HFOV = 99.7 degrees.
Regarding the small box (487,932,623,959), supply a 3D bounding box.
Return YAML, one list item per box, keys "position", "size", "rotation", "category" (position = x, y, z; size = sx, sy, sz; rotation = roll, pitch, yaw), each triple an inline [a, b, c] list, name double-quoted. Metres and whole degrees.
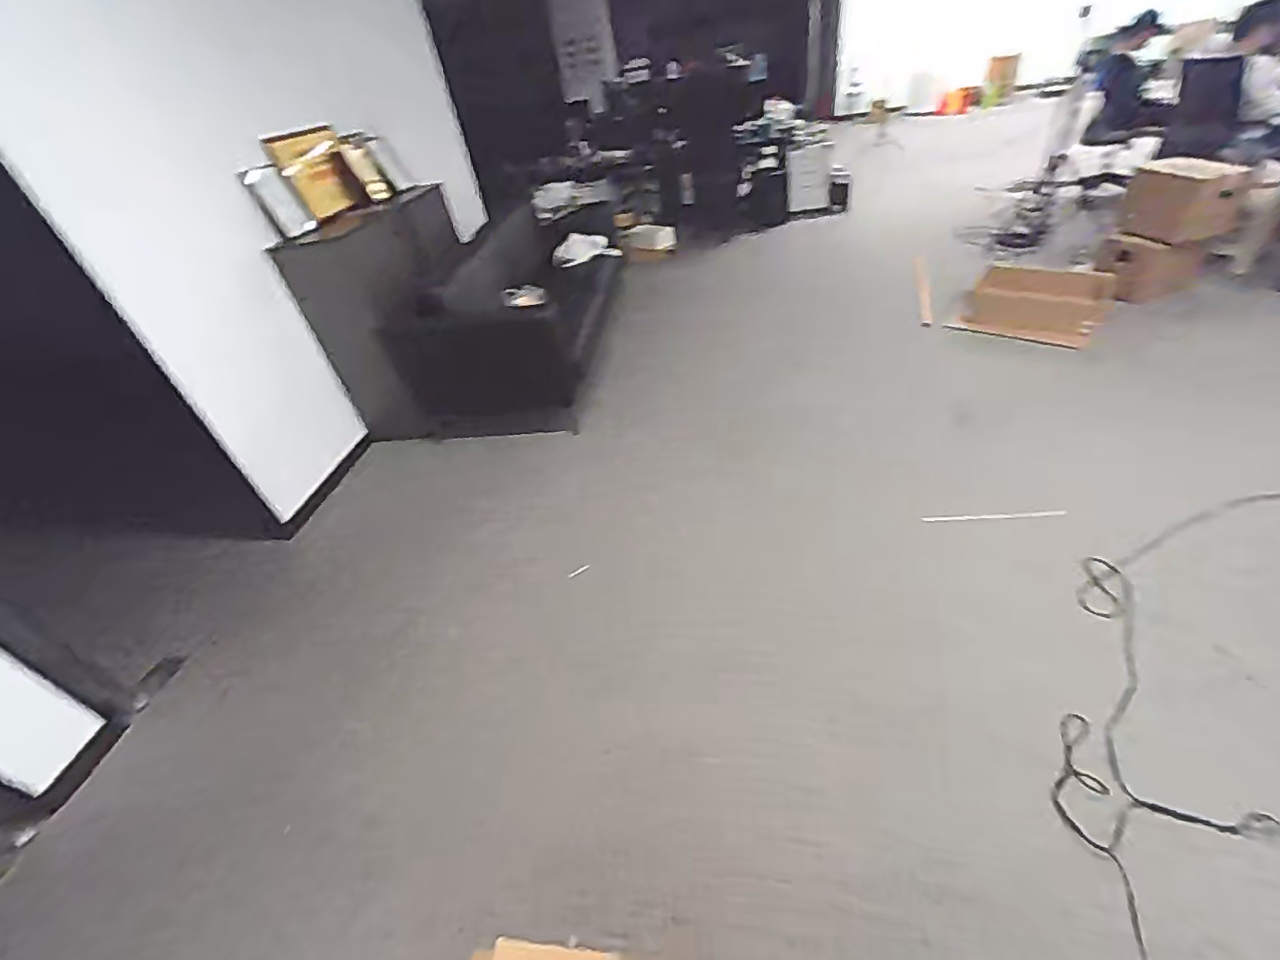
- position: [-0.114, 0.729, 0.711]
  size: [0.179, 0.176, 0.168]
  rotation: [-2, 40, 11]
  category: "small box"
